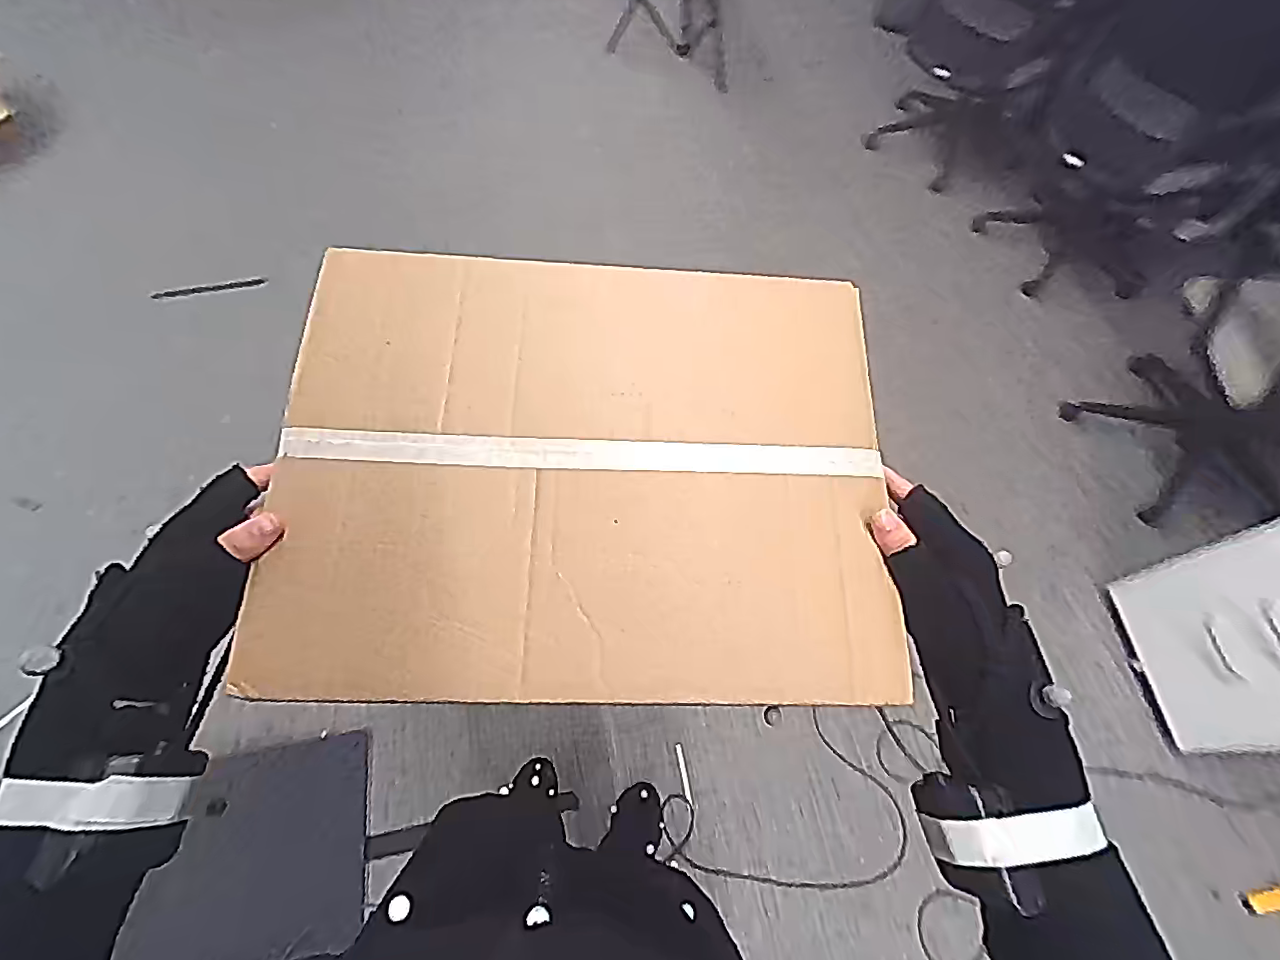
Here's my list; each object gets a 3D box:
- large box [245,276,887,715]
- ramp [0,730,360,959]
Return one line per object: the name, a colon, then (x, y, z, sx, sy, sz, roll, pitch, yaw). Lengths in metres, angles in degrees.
large box: (-0.049, 0.039, 0.520, 0.408, 0.320, 0.320, 1, 71, -5)
ramp: (-1.101, 0.838, 1.050, 0.991, 0.206, 0.509, -10, 62, -8)
